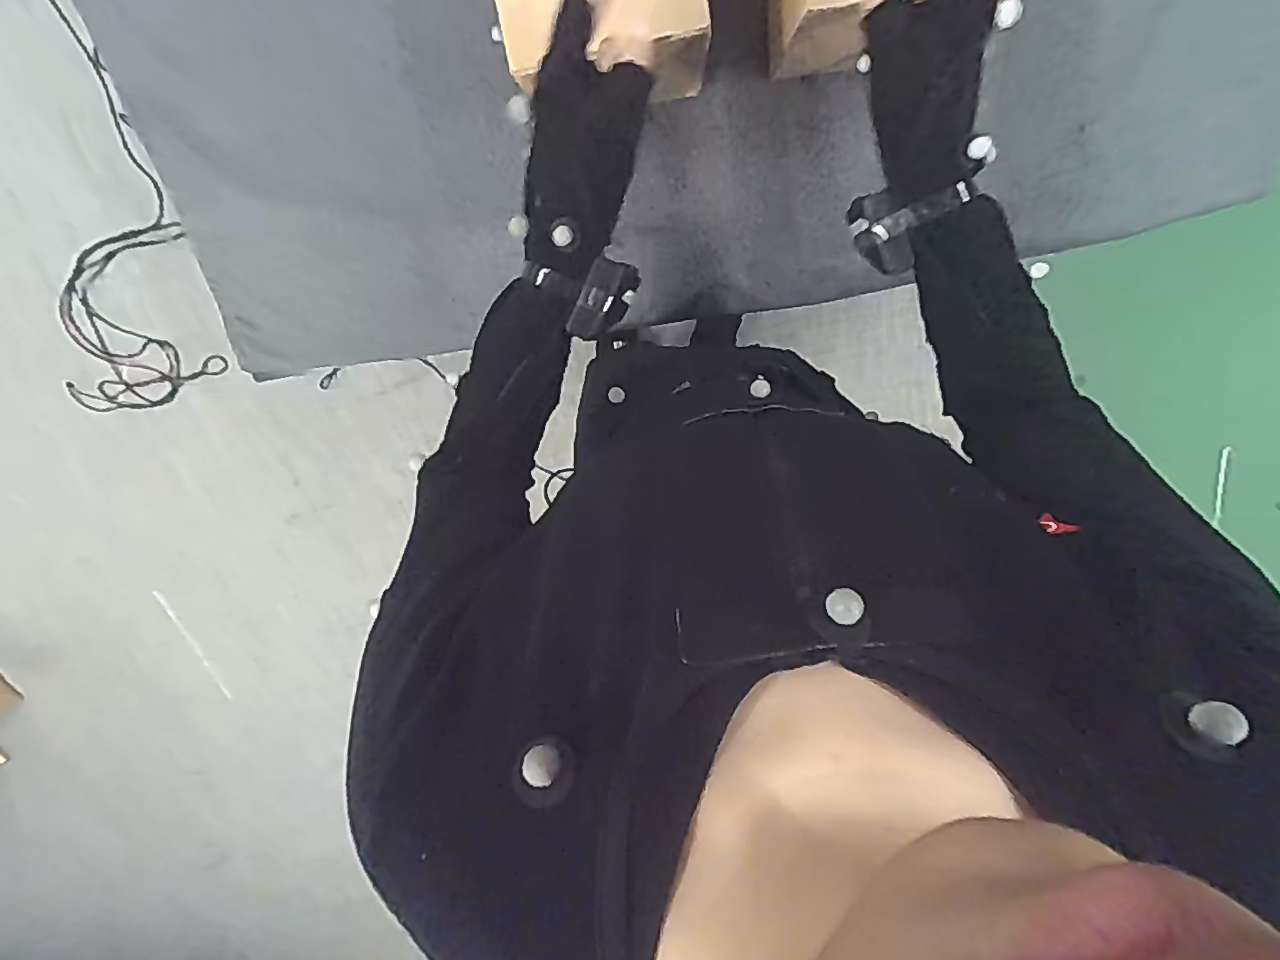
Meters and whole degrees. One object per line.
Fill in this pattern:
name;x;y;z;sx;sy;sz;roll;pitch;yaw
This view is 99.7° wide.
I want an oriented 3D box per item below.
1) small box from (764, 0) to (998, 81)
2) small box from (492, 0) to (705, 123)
small box;0.200;-0.477;0.459;0.168;0.176;0.179;-4;112;5
small box;-0.039;-0.452;0.481;0.168;0.176;0.179;-8;111;7
